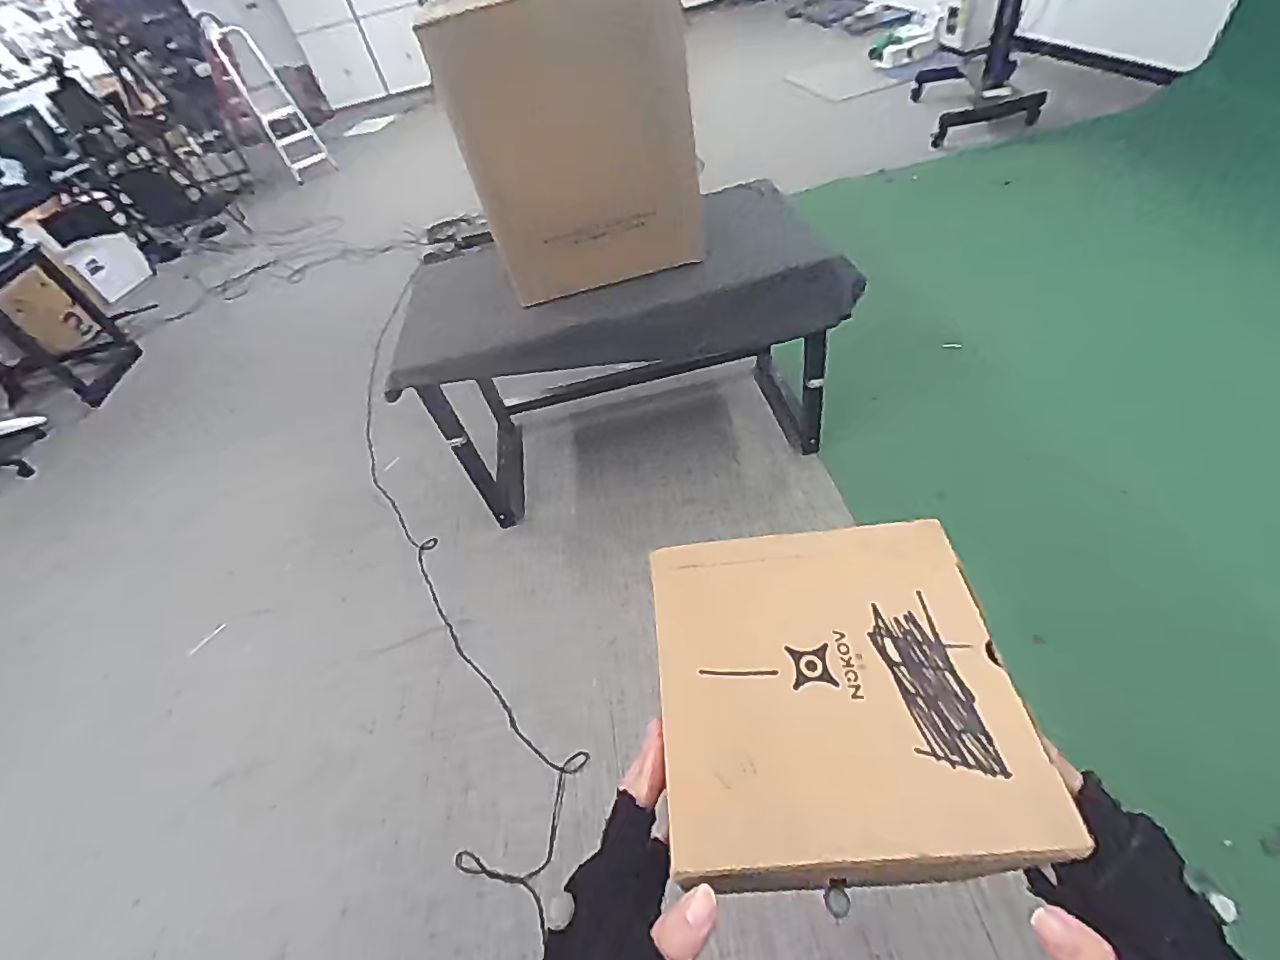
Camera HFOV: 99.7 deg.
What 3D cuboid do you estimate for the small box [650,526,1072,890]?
[{"bbox_3d":[0.103,0.150,0.346,0.179,0.176,0.168,-7,50,0],"label":"small box"}]
